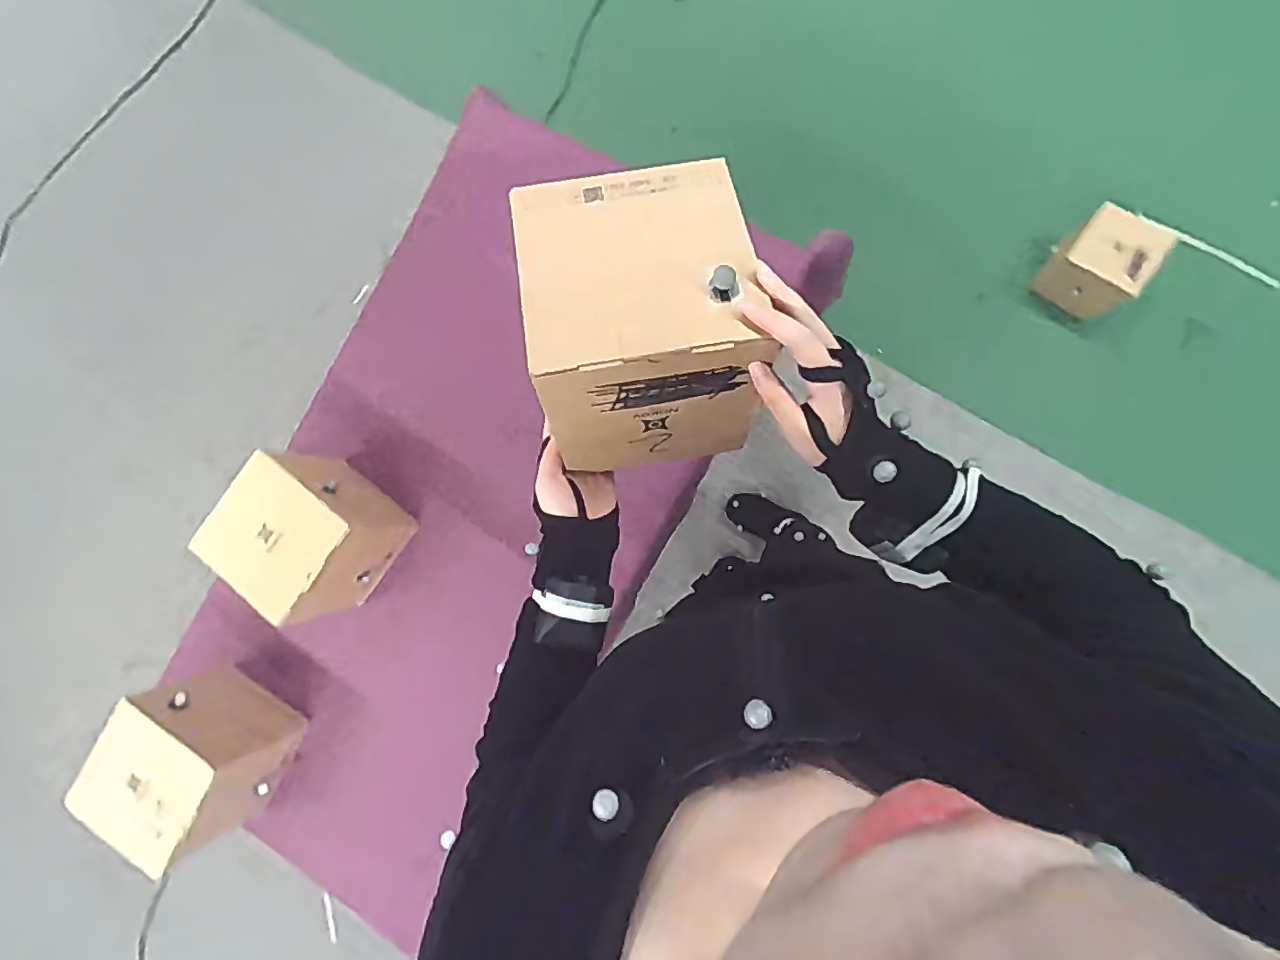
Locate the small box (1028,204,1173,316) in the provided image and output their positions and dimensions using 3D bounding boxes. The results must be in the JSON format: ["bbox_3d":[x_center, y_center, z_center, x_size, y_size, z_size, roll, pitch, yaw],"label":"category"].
[{"bbox_3d":[1.124,-0.530,1.336,0.179,0.176,0.168,35,91,10],"label":"small box"}]

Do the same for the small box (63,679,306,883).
[{"bbox_3d":[-0.643,0.412,0.783,0.179,0.176,0.168,30,90,9],"label":"small box"}]

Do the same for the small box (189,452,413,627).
[{"bbox_3d":[-0.478,0.083,0.786,0.179,0.176,0.168,37,92,8],"label":"small box"}]
